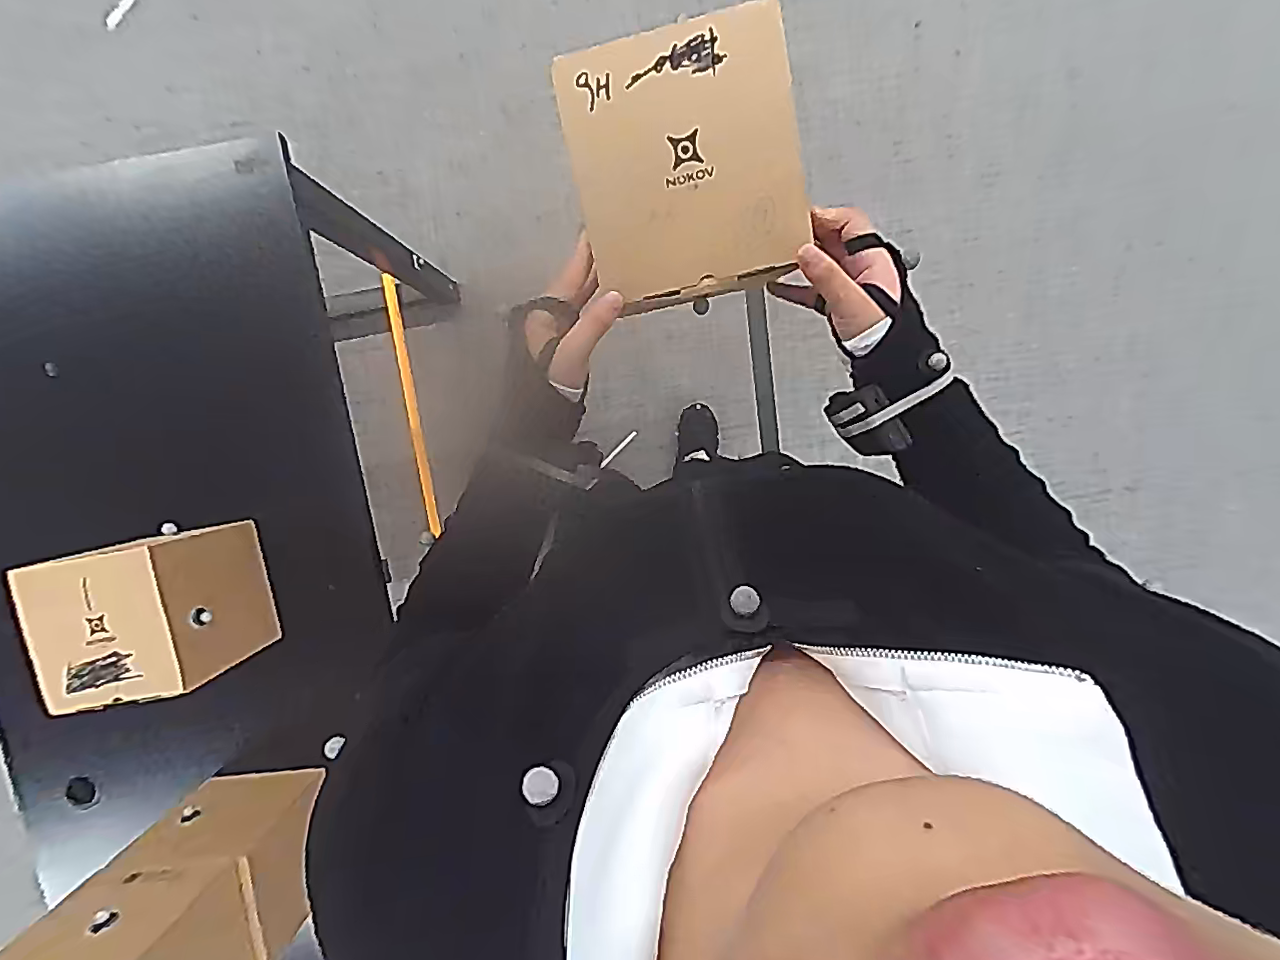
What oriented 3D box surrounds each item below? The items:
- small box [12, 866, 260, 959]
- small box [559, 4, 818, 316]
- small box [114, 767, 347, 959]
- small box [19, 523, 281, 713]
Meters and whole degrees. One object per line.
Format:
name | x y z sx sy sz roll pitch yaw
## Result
small box | -0.545 0.546 0.571 0.168 0.176 0.179 -6 97 2
small box | 0.043 -0.249 0.472 0.168 0.176 0.179 -12 105 5
small box | -0.537 0.521 0.735 0.179 0.176 0.168 -6 97 0
small box | -0.604 0.166 0.695 0.168 0.176 0.179 -10 95 2
